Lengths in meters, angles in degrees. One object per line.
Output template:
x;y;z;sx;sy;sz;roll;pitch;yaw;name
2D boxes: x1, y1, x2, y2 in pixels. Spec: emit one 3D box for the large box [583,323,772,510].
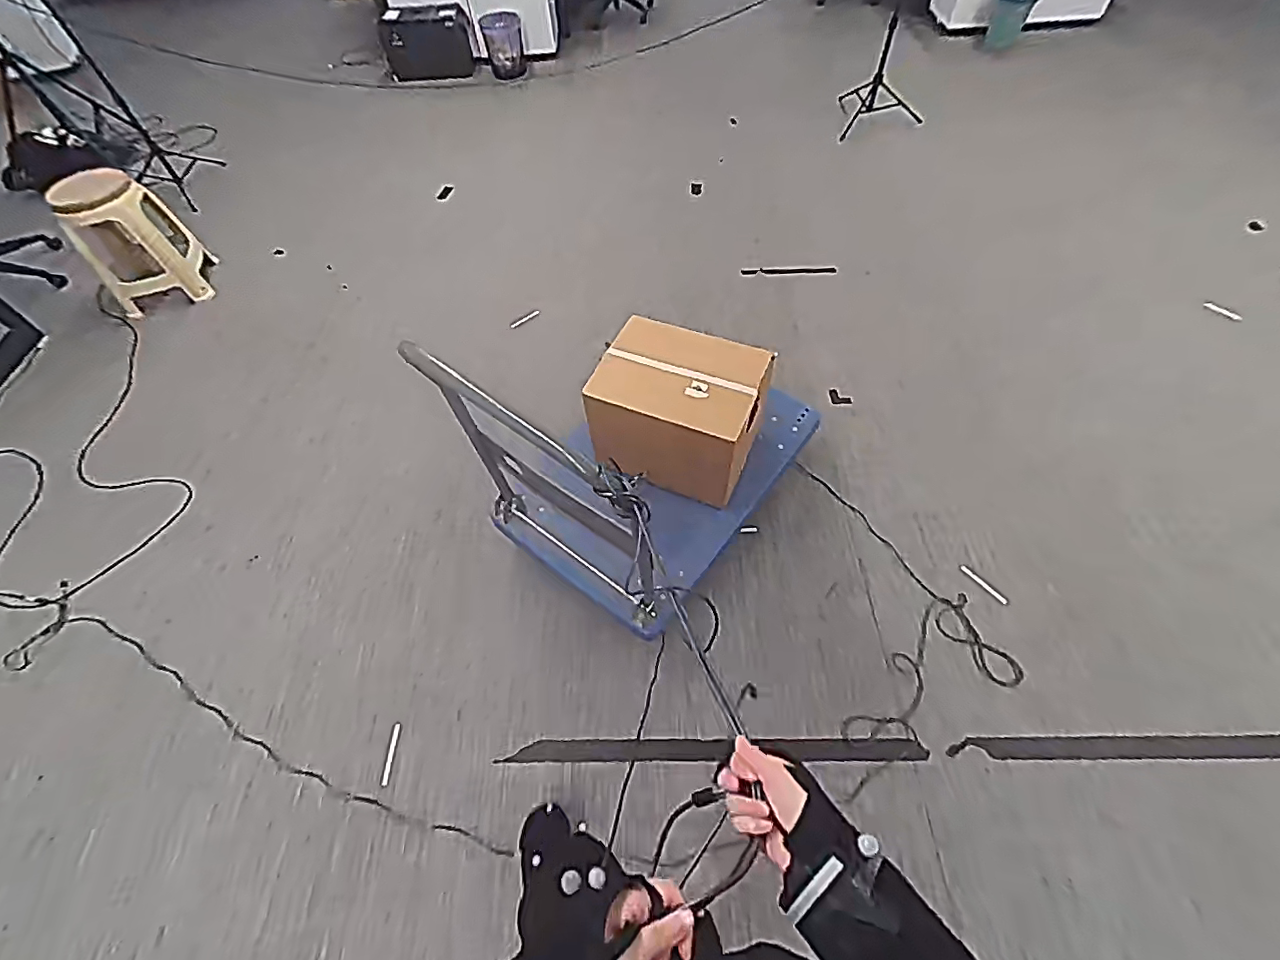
0.100;-0.172;1.476;0.408;0.320;0.320;19;60;14;large box
